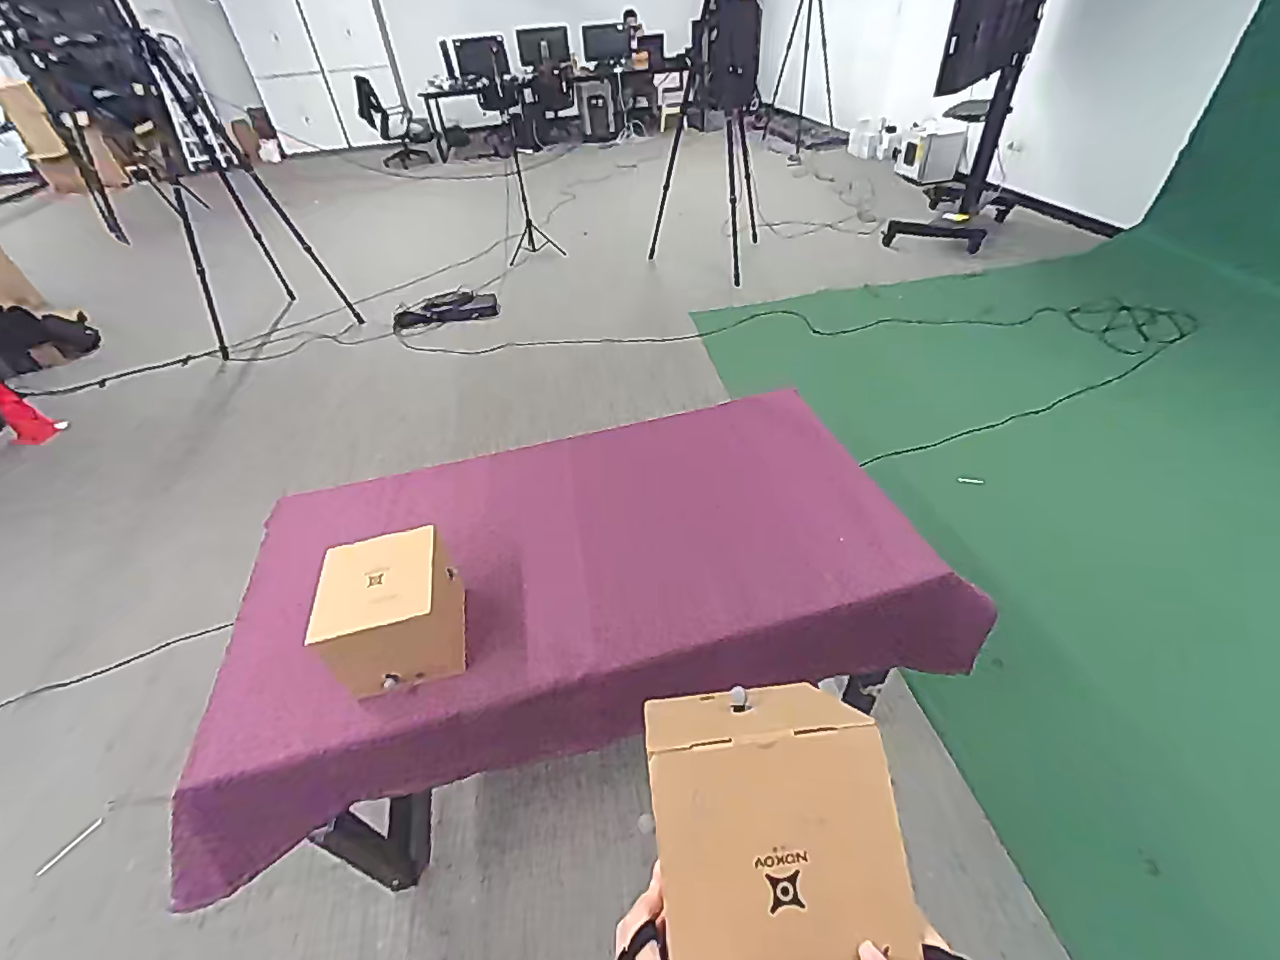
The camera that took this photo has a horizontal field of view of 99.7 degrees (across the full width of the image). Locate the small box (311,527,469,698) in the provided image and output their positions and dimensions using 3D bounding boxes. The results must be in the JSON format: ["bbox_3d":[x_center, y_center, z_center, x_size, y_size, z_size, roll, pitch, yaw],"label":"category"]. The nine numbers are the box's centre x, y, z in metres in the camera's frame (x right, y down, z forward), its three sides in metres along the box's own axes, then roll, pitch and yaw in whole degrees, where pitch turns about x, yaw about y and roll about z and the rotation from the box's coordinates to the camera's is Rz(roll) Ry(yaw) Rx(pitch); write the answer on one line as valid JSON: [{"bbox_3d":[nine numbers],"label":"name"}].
[{"bbox_3d":[-0.373,0.206,0.842,0.168,0.176,0.179,-13,44,-7],"label":"small box"}]

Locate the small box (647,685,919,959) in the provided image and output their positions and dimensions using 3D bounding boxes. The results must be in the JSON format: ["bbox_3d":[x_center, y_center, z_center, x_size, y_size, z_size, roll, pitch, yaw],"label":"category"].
[{"bbox_3d":[0.095,0.274,0.445,0.168,0.176,0.179,-7,78,0],"label":"small box"}]
